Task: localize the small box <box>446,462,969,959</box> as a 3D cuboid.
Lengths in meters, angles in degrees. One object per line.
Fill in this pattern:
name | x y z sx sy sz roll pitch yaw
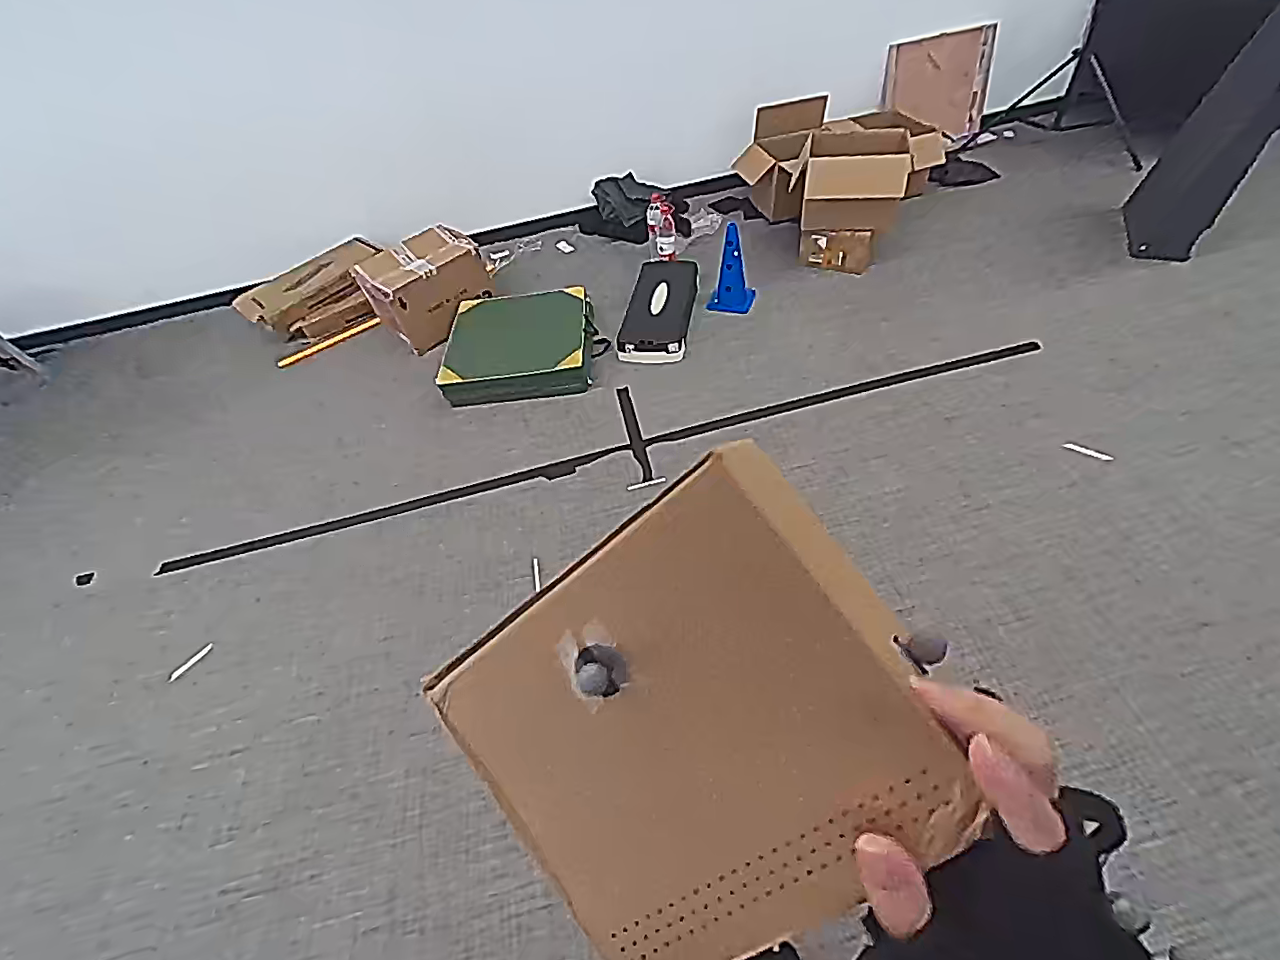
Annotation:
small box | 0.038 0.112 0.308 0.179 0.168 0.176 -40 83 17
